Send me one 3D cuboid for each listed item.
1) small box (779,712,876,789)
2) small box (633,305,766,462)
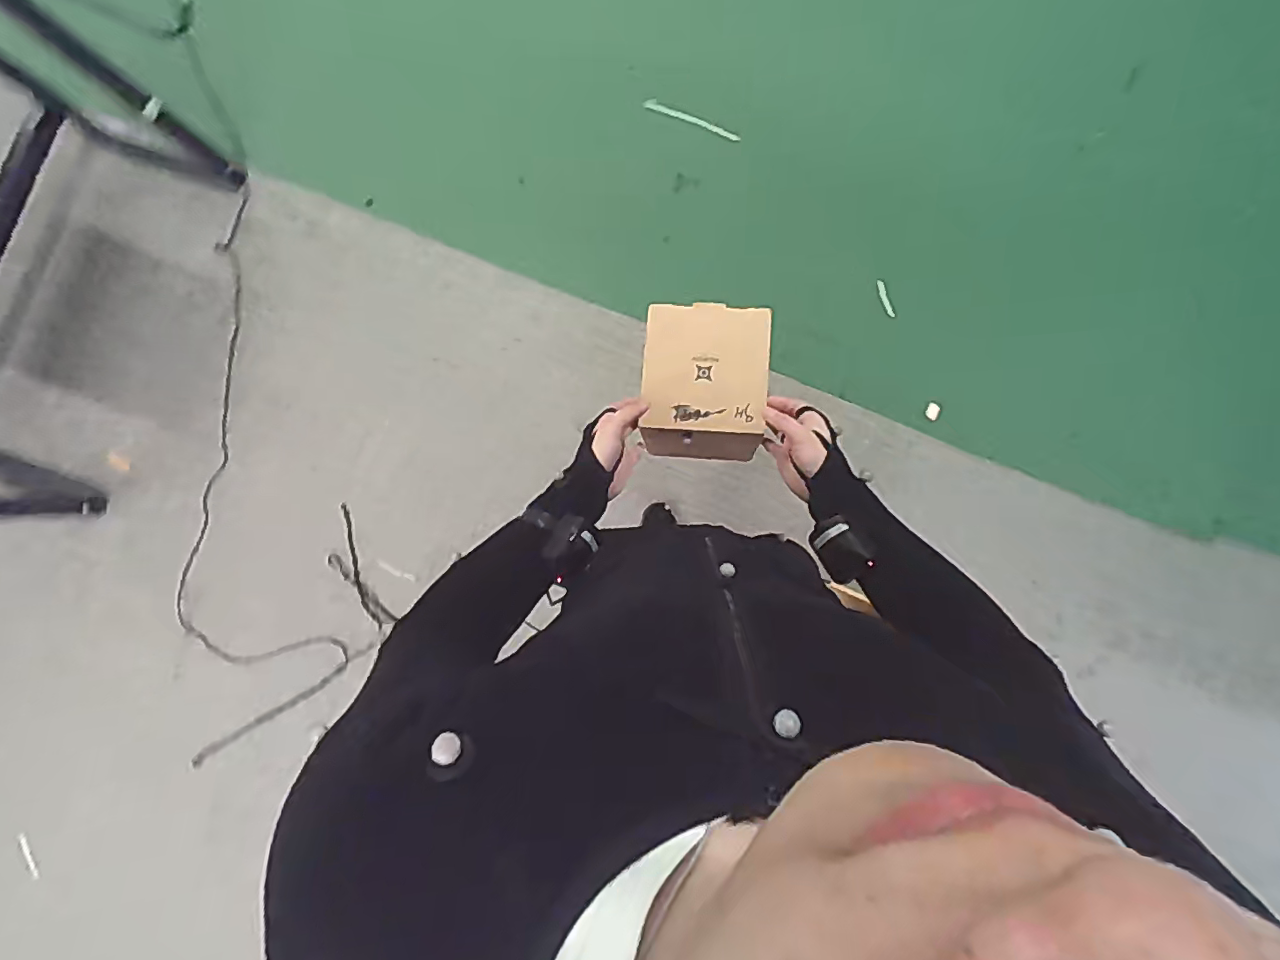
[{"bbox_3d":[0.499,0.759,1.469,0.179,0.176,0.168,25,88,2],"label":"small box"},{"bbox_3d":[0.086,-0.133,0.788,0.168,0.176,0.179,4,81,7],"label":"small box"}]
